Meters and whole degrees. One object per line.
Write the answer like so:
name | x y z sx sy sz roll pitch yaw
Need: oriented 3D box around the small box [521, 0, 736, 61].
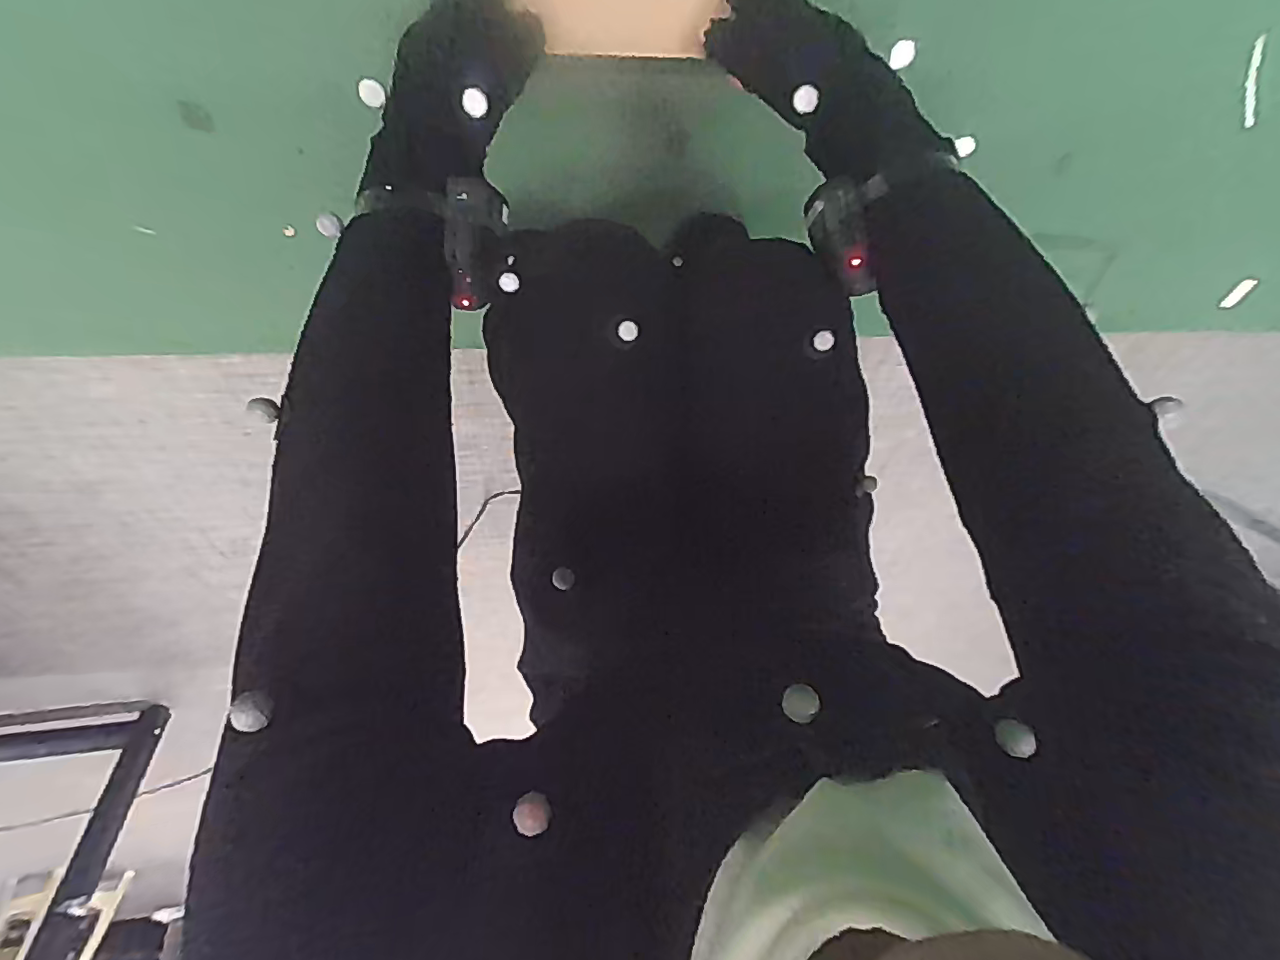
small box | -0.015 -0.453 0.420 0.168 0.176 0.179 -4 139 -6
